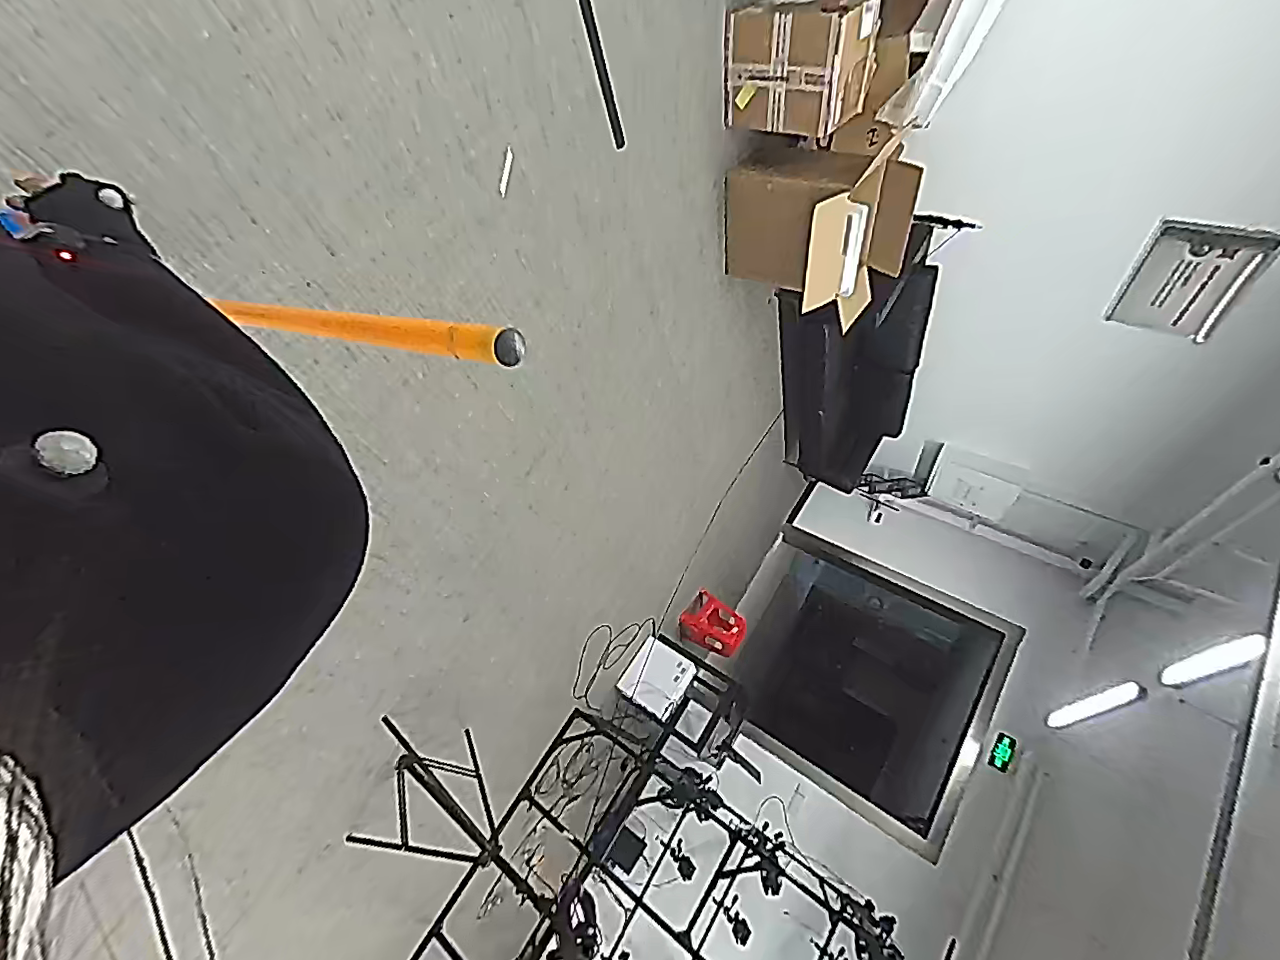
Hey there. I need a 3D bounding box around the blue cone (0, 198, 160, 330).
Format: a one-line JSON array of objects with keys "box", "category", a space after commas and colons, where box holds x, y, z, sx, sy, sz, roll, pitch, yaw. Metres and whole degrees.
[{"box": [-0.899, -0.328, 0.908, 0.192, 0.380, 0.193, -52, 149, -22], "category": "blue cone"}]
